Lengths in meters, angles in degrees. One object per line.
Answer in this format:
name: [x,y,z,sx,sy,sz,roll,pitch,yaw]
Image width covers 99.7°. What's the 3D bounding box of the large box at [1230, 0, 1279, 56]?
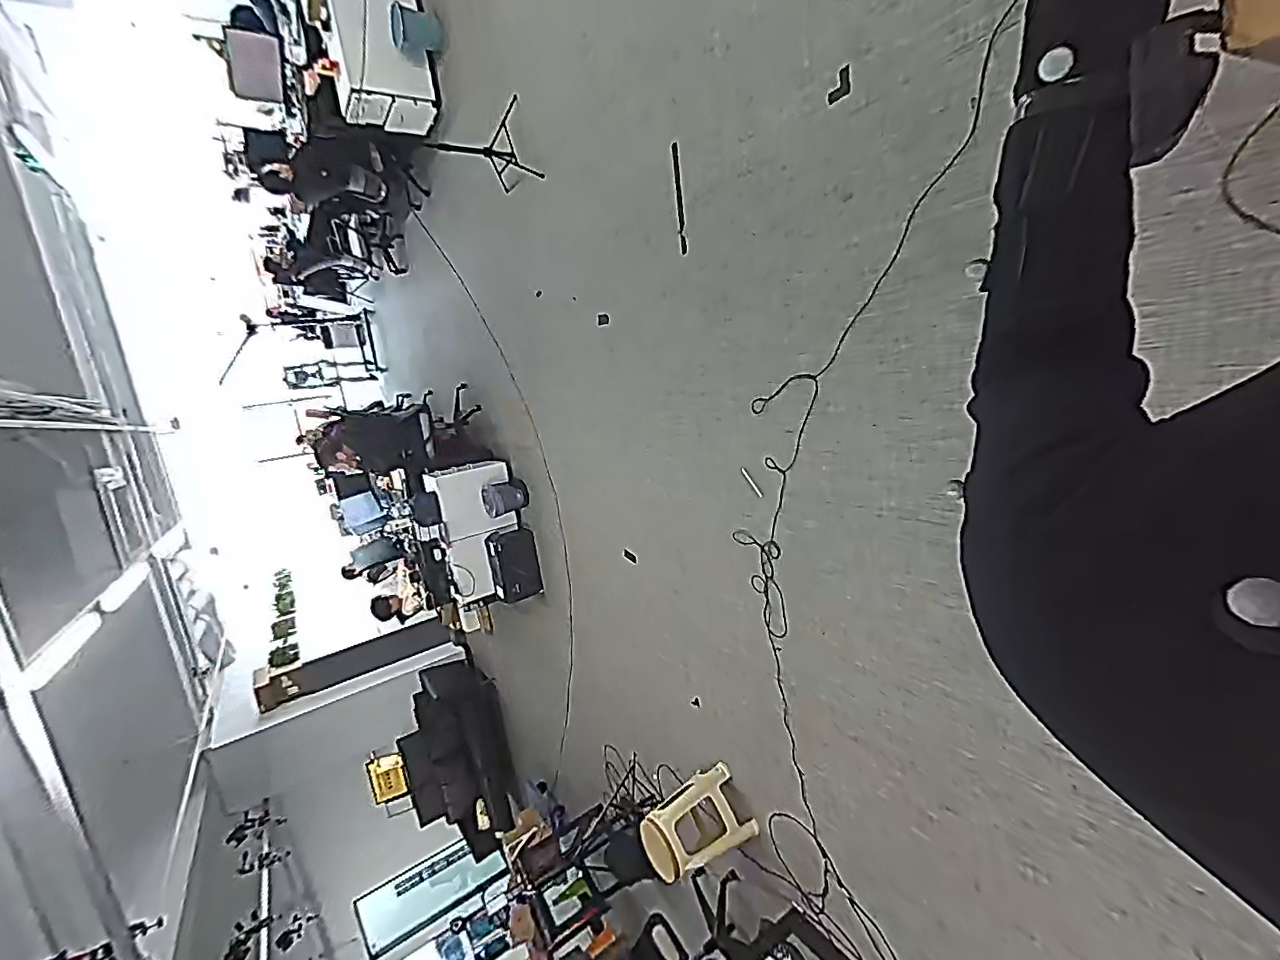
large box: [0.509,-0.419,0.174,0.408,0.320,0.320,6,116,56]
